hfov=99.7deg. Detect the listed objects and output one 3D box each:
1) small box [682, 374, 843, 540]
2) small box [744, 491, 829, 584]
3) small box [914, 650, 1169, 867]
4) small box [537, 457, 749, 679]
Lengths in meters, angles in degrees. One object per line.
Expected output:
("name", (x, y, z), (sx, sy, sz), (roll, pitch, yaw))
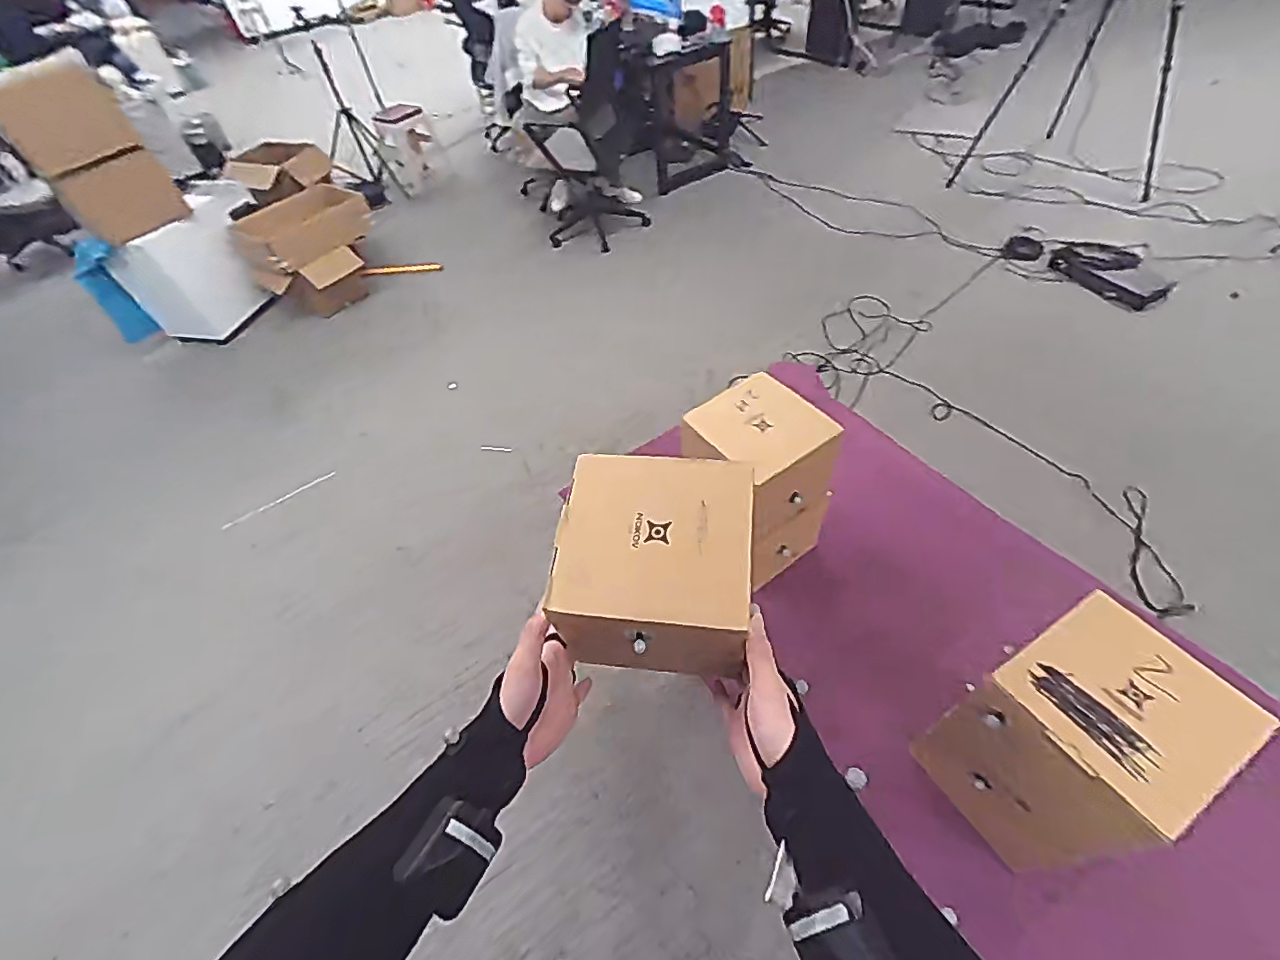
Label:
("small box", (0.185, -0.029, 0.853), (0.168, 0.176, 0.179), (-30, 53, -17))
("small box", (0.213, 0.066, 0.986), (0.168, 0.176, 0.179), (-32, 53, -18))
("small box", (0.496, 0.363, 0.702), (0.168, 0.176, 0.179), (-28, 53, -15))
("small box", (0.016, 0.094, 0.553), (0.179, 0.176, 0.168), (4, 57, 9))
